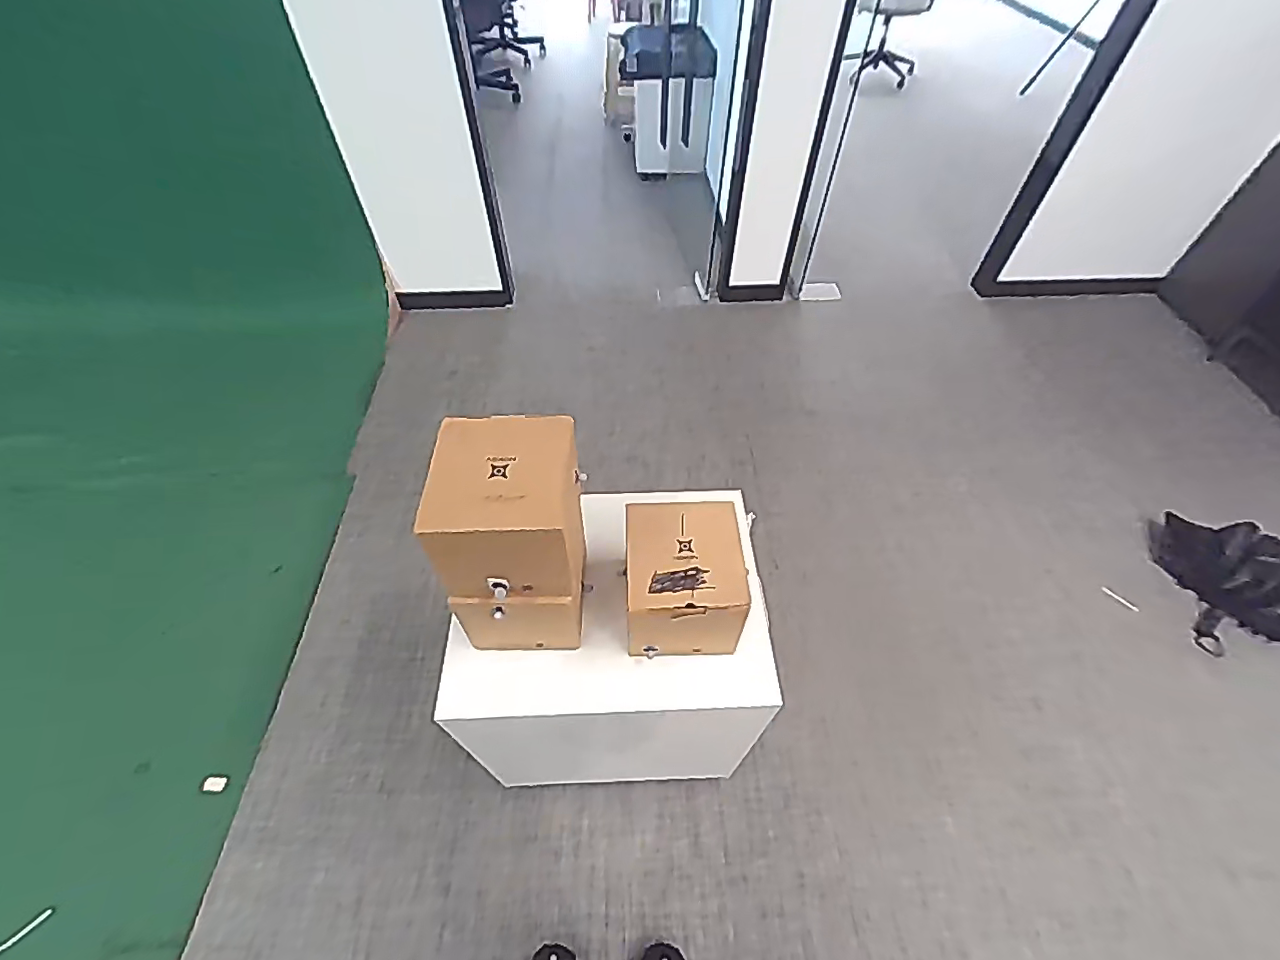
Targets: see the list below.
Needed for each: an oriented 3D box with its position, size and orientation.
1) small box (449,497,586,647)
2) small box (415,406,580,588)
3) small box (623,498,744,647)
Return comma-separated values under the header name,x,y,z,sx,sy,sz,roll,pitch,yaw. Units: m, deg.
name,x,y,z,sx,sy,sz,roll,pitch,yaw
small box,-0.174,0.139,0.835,0.168,0.176,0.179,0,51,0
small box,-0.168,0.023,0.700,0.168,0.176,0.179,-1,53,-2
small box,0.059,0.147,0.831,0.168,0.176,0.179,-1,51,-1
